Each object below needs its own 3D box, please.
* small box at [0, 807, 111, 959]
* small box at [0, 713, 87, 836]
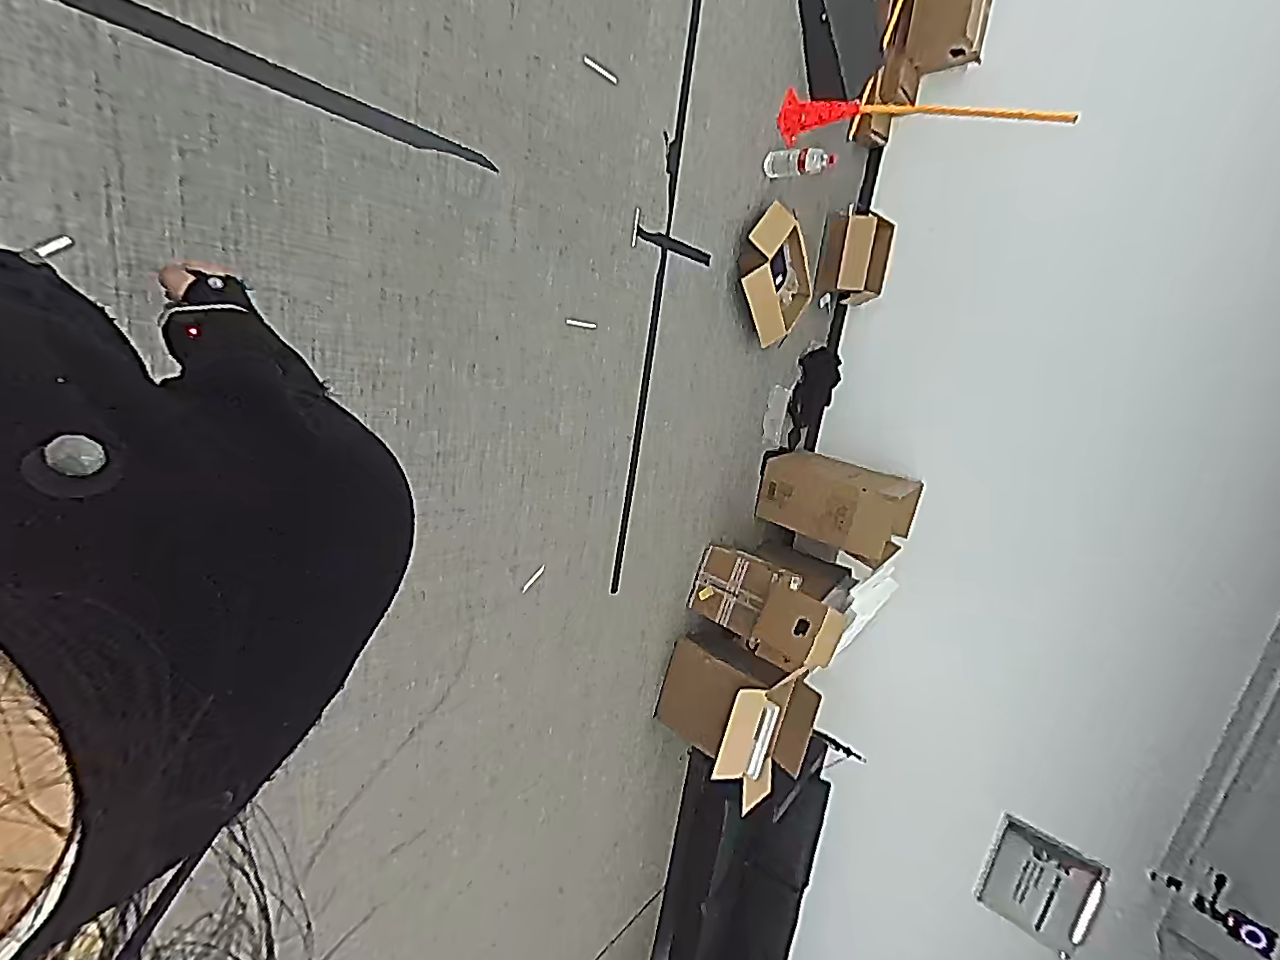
[{"bbox_3d":[-0.993,0.690,0.883,0.168,0.176,0.179,-8,111,-49],"label":"small box"},{"bbox_3d":[-1.238,0.598,1.082,0.168,0.176,0.179,-5,110,-49],"label":"small box"}]
